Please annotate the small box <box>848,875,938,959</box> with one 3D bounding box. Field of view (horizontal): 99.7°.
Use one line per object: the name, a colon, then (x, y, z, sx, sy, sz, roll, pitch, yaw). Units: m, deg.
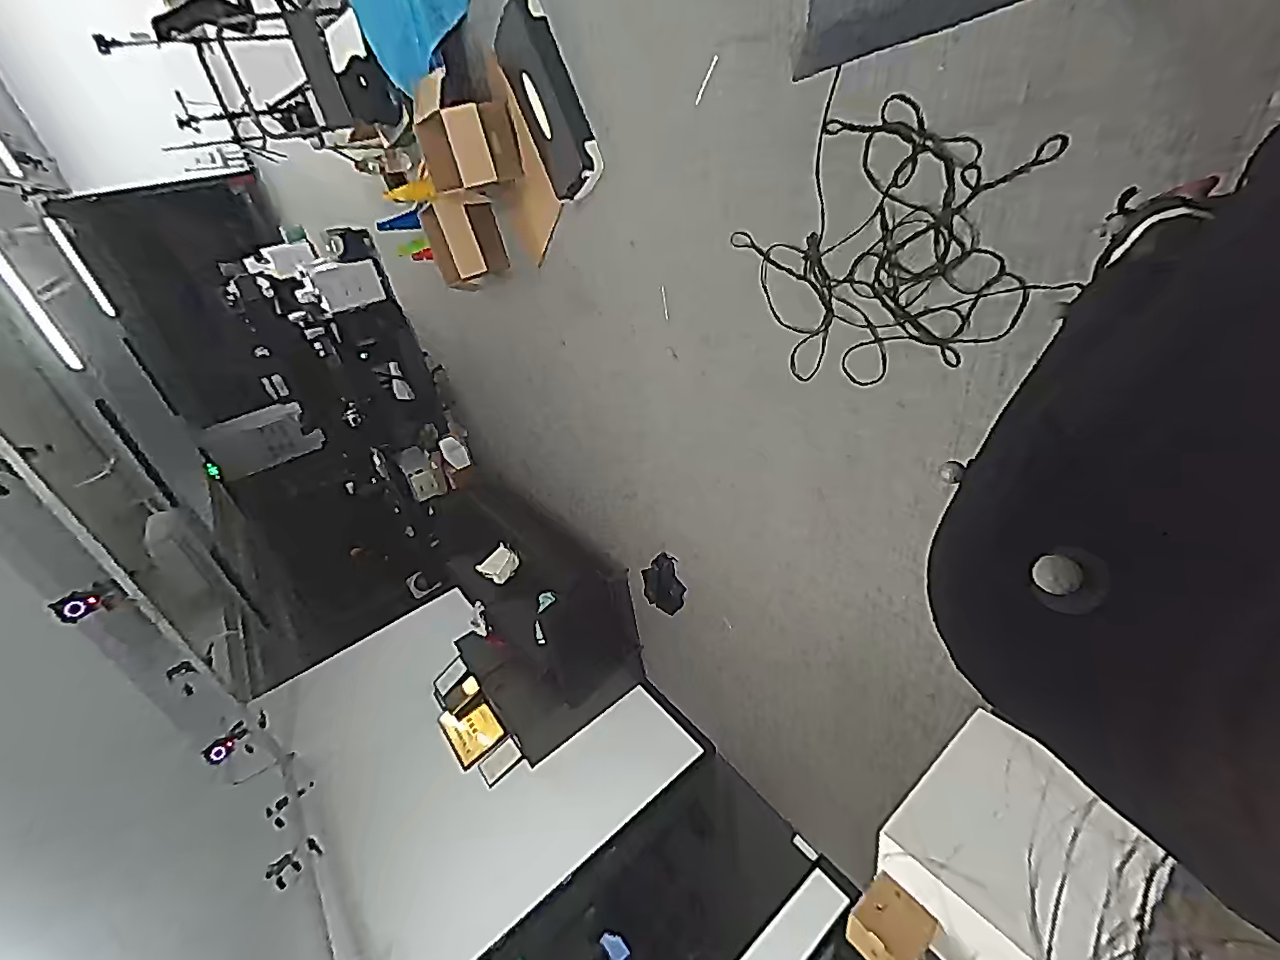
small box: (0.712, 1.271, 1.524, 0.168, 0.176, 0.179, 30, 140, 47)
